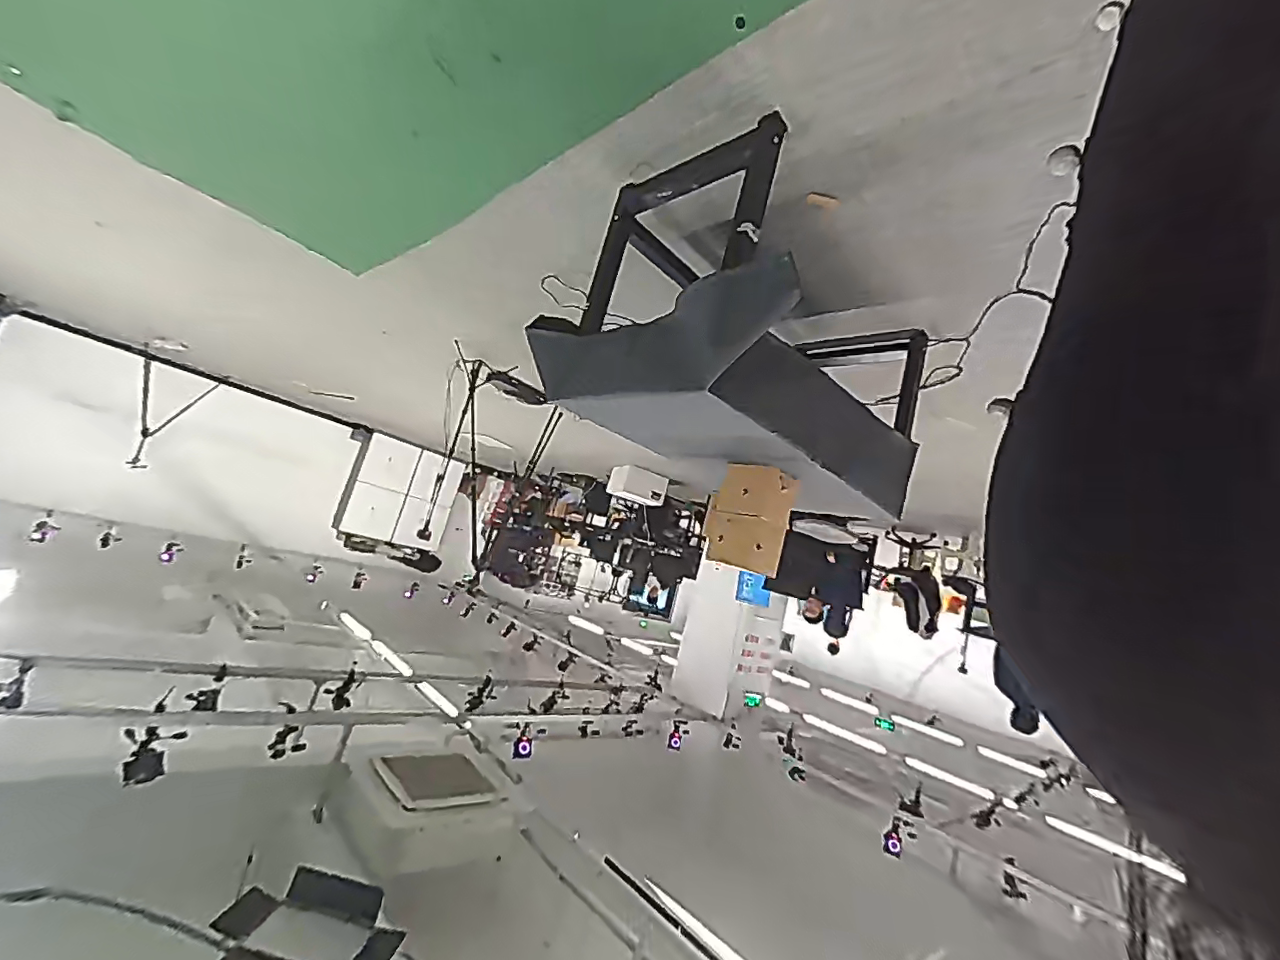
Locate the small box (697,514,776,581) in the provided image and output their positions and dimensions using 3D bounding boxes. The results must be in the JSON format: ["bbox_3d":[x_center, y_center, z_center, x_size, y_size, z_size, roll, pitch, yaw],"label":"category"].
[{"bbox_3d":[0.315,0.215,1.750,0.179,0.176,0.168,24,169,-41],"label":"small box"}]

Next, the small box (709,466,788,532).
[{"bbox_3d":[0.358,0.059,1.771,0.179,0.176,0.168,5,167,45],"label":"small box"}]
